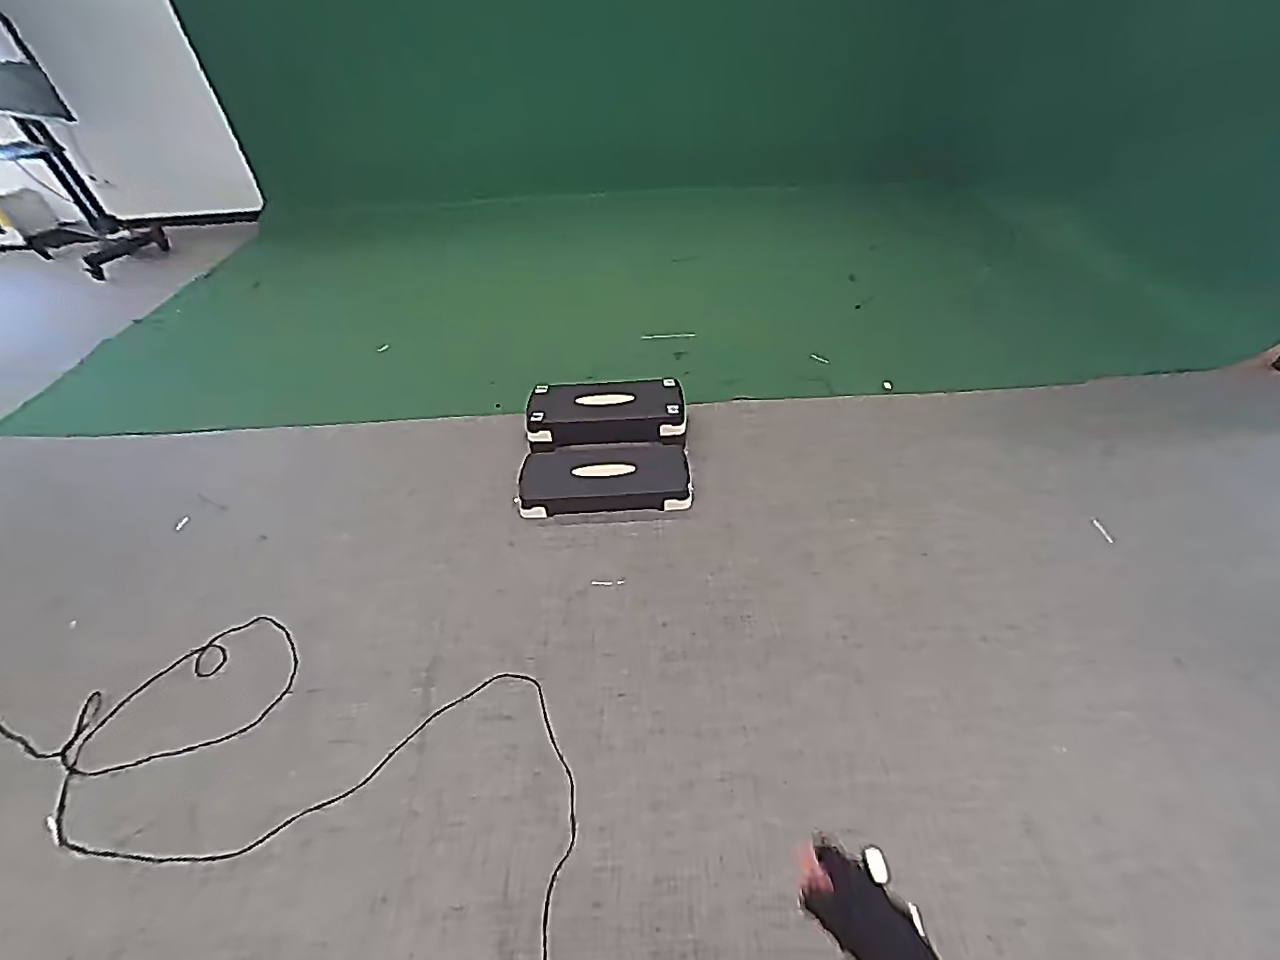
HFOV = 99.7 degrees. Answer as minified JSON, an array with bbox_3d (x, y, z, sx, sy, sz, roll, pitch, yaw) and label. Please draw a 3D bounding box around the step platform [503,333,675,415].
[{"bbox_3d":[-0.201,-0.437,2.225,0.684,0.204,0.286,-4,44,1],"label":"step platform"}]
